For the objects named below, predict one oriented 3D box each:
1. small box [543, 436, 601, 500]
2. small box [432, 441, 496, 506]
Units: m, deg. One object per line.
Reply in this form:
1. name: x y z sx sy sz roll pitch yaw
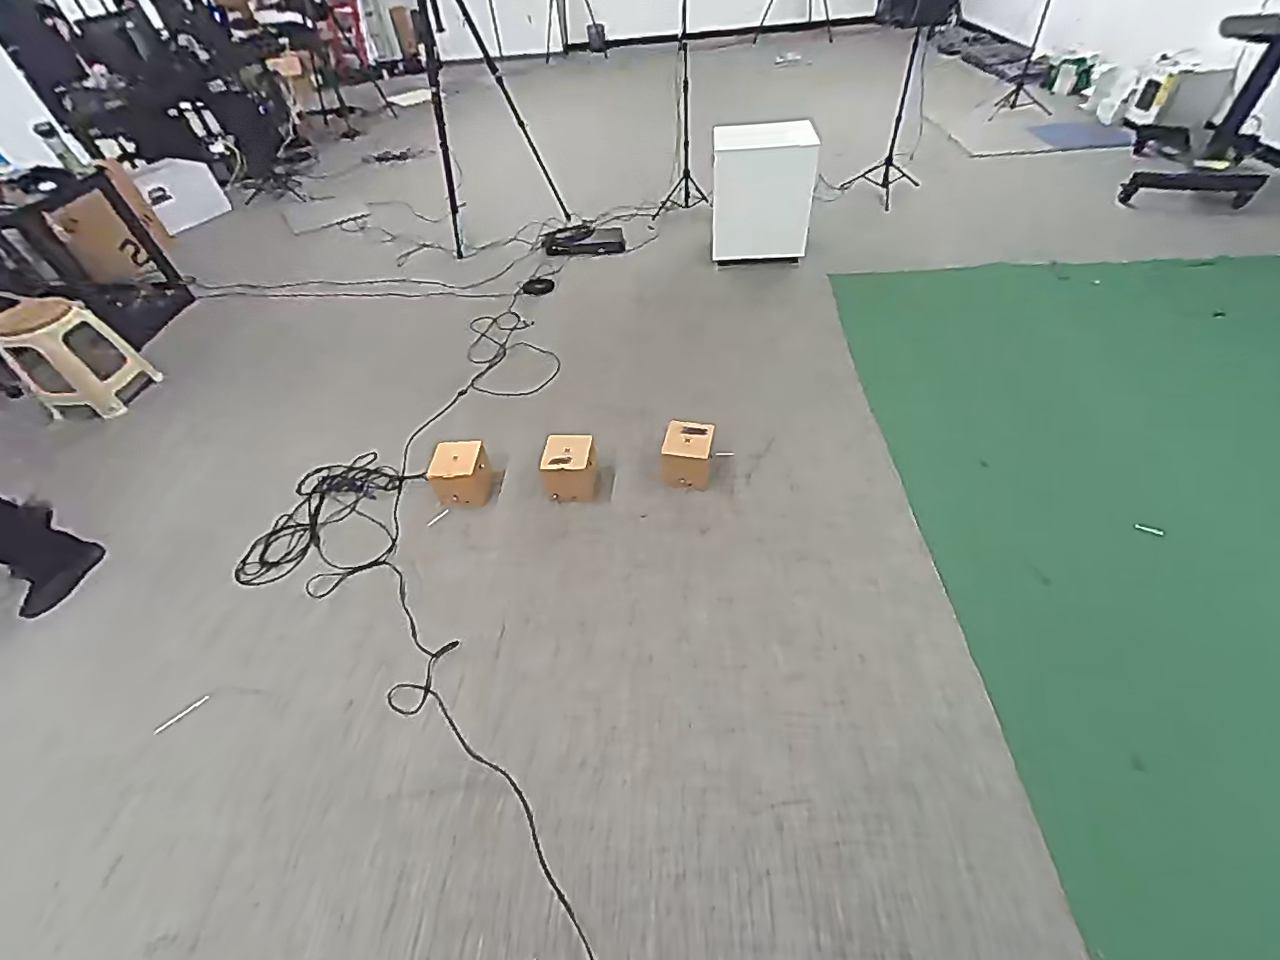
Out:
1. small box: -0.243 -0.043 1.979 0.168 0.176 0.179 1 47 8
2. small box: -0.645 -0.024 2.007 0.168 0.176 0.179 -3 48 4
